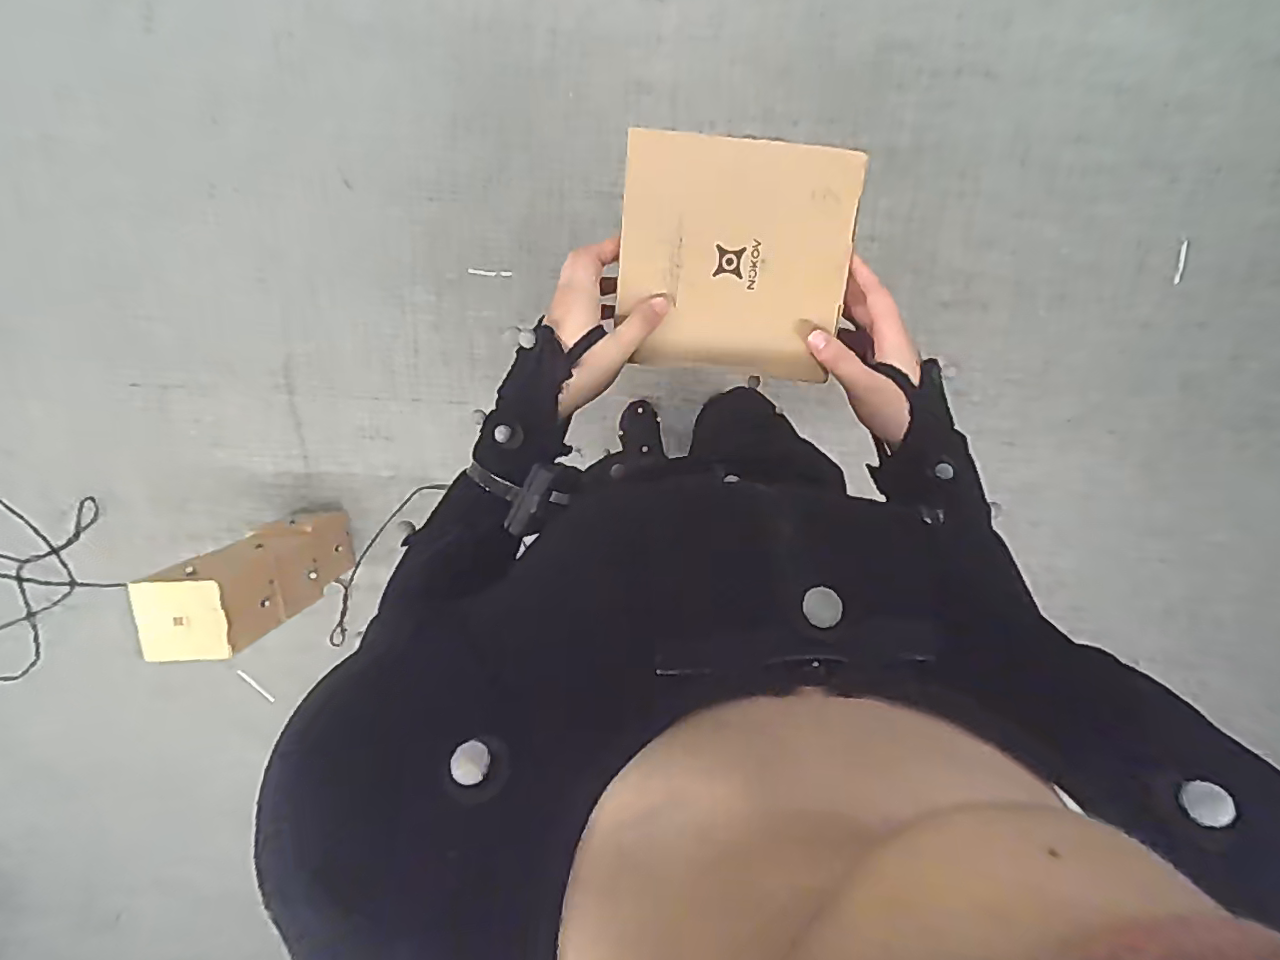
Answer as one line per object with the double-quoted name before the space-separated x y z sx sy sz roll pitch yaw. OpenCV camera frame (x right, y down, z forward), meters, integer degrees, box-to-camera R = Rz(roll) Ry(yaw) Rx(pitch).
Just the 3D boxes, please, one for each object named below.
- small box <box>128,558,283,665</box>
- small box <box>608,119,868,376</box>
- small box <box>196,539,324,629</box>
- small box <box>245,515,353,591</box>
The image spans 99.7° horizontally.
"small box" -0.889 0.266 1.121 0.179 0.176 0.168 -2 101 0
"small box" 0.070 -0.187 0.478 0.179 0.176 0.168 5 104 0
"small box" -0.891 0.242 1.282 0.179 0.176 0.168 -1 101 0
"small box" -0.894 0.195 1.440 0.179 0.176 0.168 -5 100 2
